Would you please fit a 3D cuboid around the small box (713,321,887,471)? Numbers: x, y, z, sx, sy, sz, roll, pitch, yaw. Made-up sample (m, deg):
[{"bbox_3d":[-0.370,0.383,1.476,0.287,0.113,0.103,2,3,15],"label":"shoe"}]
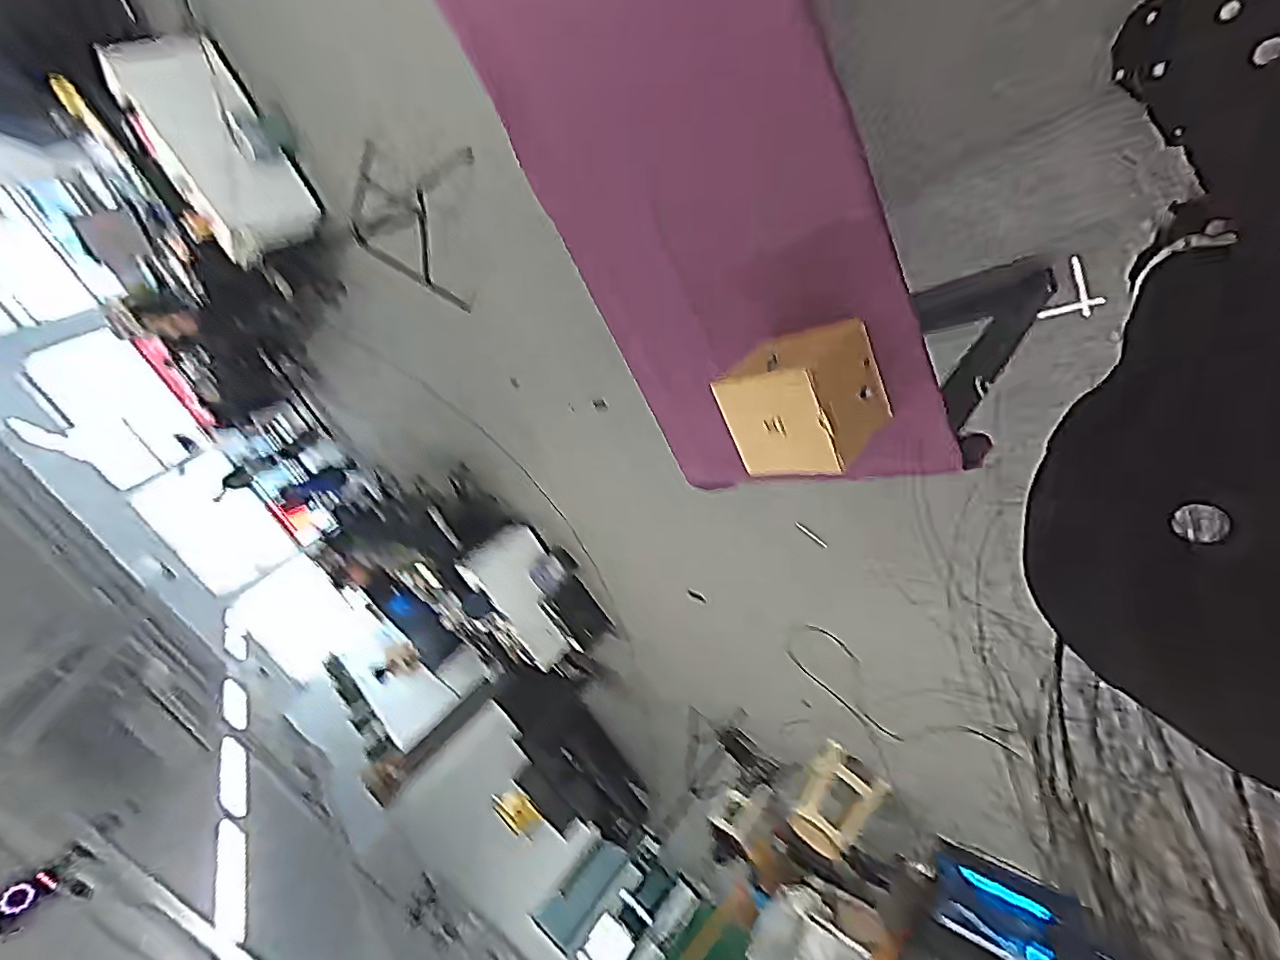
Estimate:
[{"bbox_3d":[0.252,-0.127,0.848,0.179,0.176,0.168,-1,123,51],"label":"small box"}]
